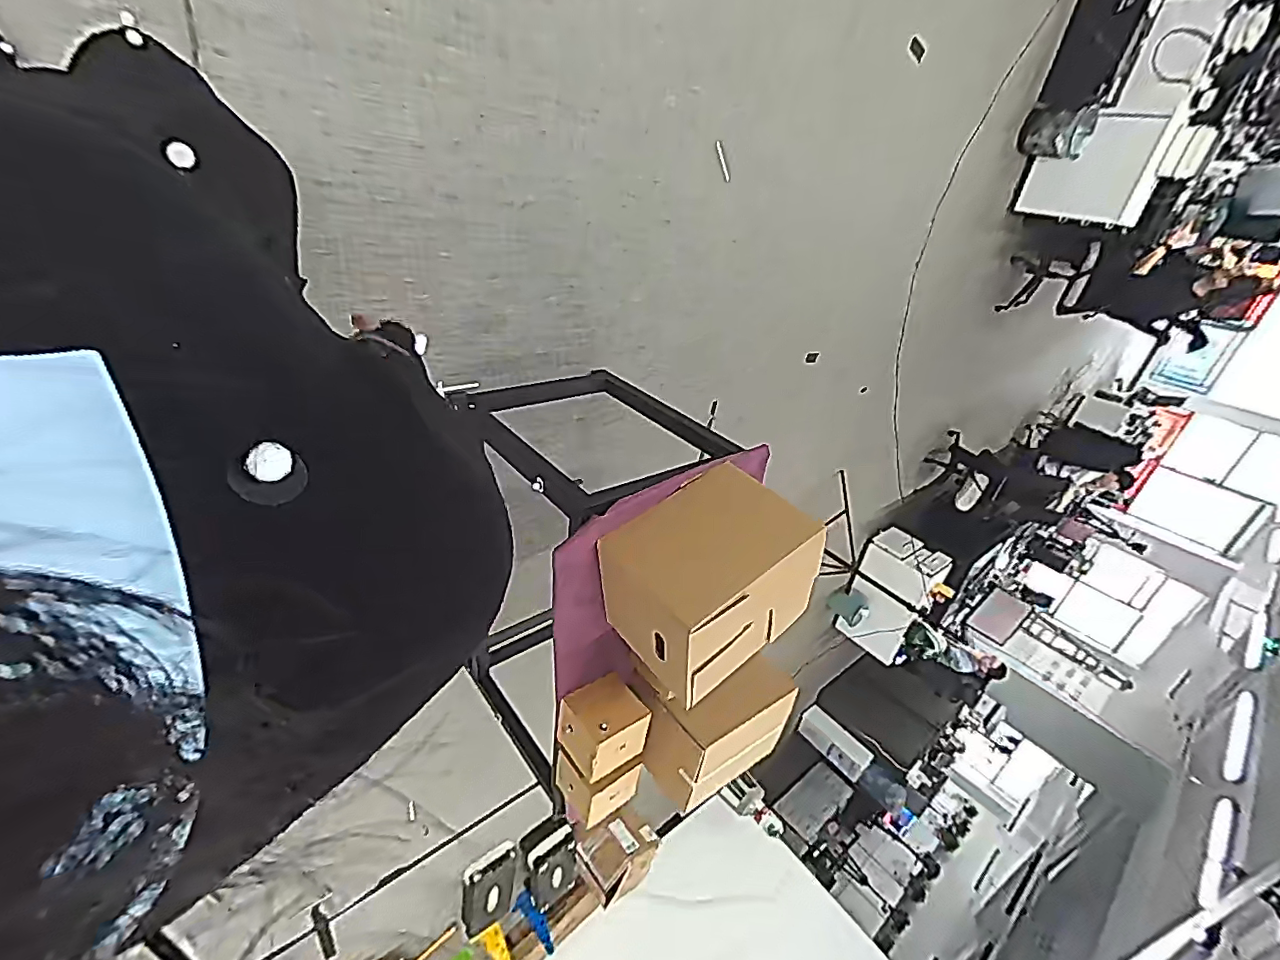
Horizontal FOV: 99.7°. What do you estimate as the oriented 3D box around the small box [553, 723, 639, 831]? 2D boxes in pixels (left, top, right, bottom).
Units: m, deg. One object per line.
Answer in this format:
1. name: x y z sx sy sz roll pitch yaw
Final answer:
1. small box: -0.132 0.846 1.556 0.179 0.176 0.168 -16 129 -38
